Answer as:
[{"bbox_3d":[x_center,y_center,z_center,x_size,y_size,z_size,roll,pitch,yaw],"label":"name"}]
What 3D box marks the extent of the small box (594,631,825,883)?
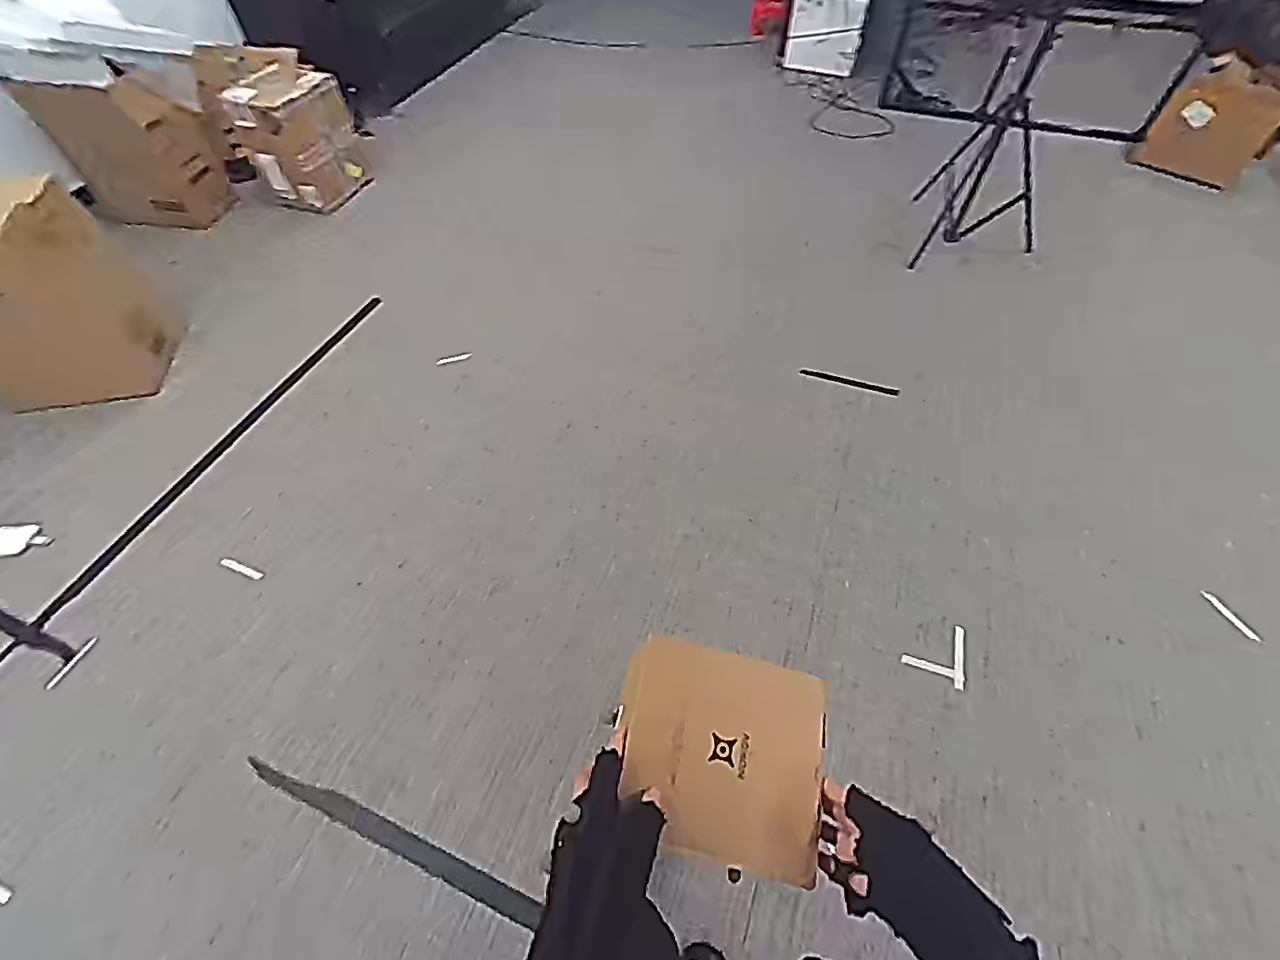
[{"bbox_3d":[0.062,0.268,0.540,0.179,0.176,0.168,15,61,-1],"label":"small box"}]
